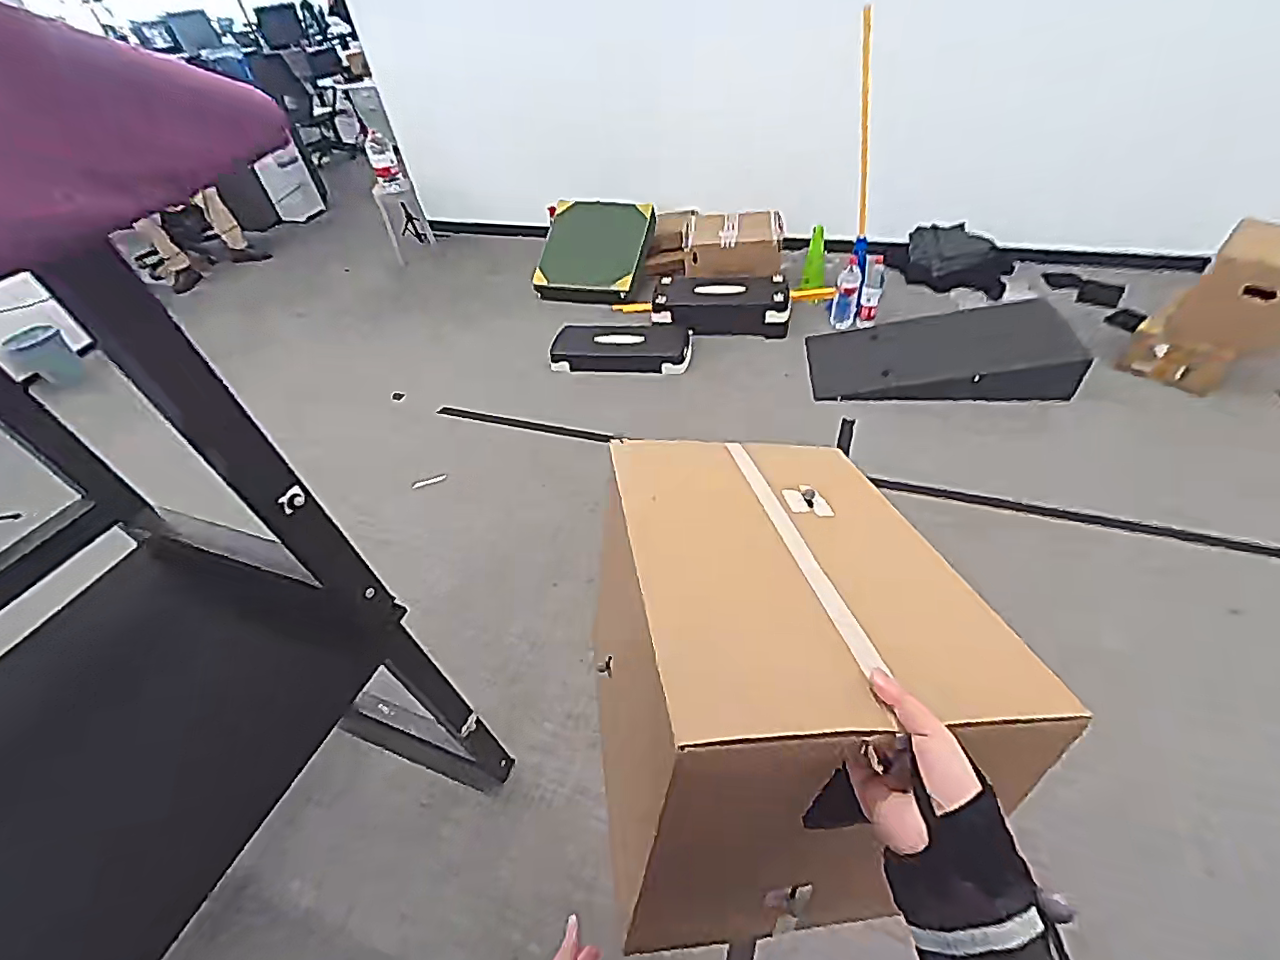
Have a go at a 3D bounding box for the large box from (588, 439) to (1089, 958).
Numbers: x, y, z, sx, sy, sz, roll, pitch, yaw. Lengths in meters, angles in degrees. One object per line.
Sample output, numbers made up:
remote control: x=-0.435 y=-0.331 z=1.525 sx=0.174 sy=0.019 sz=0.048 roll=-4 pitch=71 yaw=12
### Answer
large box: x=0.118 y=0.187 z=0.585 sx=0.320 sy=0.320 sz=0.408 roll=2 pitch=30 yaw=-12
